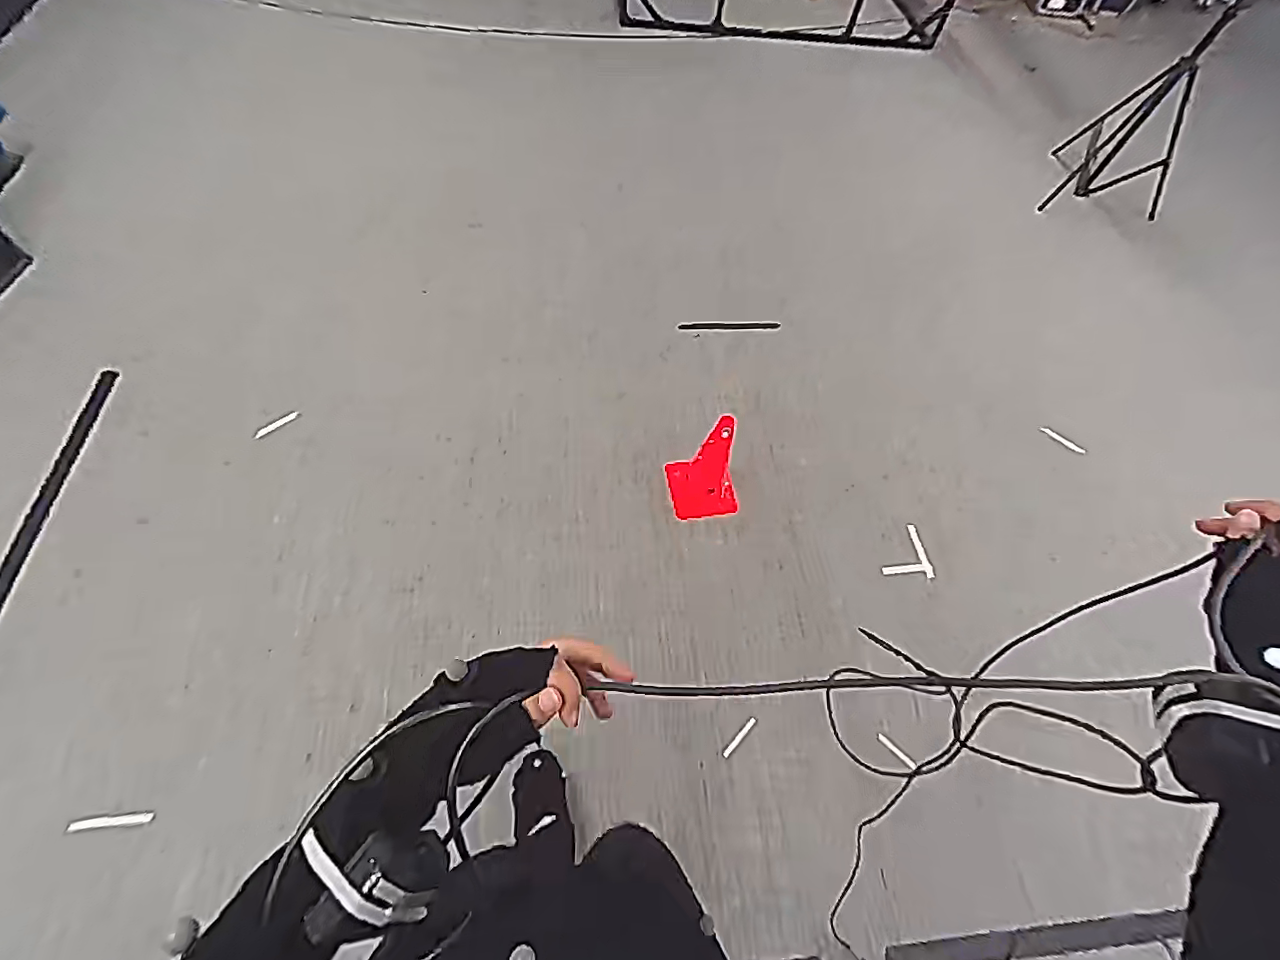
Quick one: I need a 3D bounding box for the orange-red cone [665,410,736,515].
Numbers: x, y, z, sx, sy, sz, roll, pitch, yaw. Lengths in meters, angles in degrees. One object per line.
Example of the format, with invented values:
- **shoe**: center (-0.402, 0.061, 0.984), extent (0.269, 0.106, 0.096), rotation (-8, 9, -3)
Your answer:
- **orange-red cone**: center (0.197, -0.072, 1.500), extent (0.199, 0.360, 0.198), rotation (-6, 61, -8)
